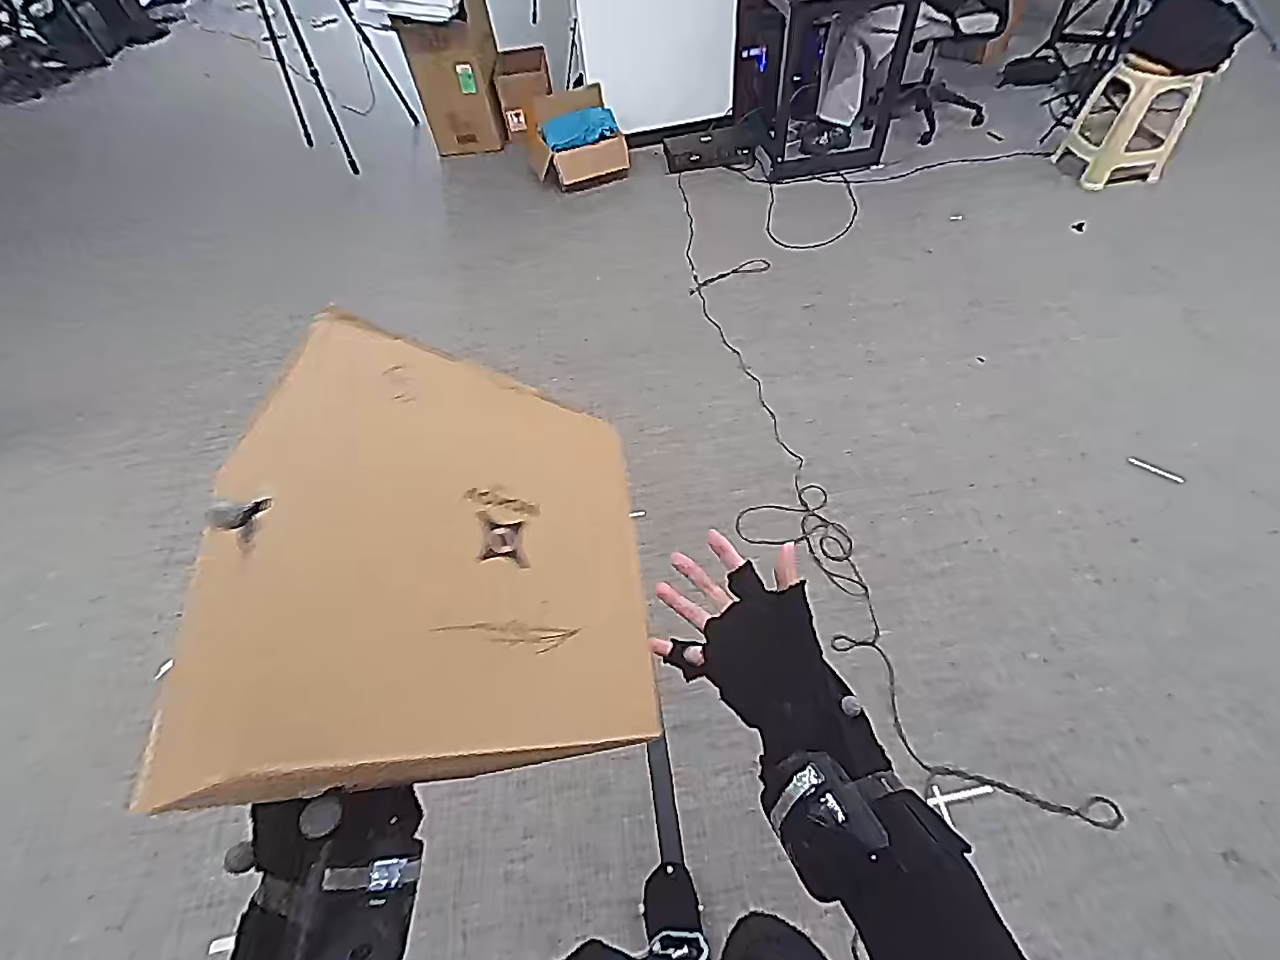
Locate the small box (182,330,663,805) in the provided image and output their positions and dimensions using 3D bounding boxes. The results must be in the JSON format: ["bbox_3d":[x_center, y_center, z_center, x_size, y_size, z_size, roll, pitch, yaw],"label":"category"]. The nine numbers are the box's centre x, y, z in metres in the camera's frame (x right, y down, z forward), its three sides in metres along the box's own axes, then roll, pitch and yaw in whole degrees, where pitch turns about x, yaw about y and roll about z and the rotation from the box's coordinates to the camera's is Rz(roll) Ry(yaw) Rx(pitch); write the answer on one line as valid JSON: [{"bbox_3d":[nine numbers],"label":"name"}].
[{"bbox_3d":[-0.113,0.062,0.296,0.176,0.168,0.179,-30,54,35],"label":"small box"}]
